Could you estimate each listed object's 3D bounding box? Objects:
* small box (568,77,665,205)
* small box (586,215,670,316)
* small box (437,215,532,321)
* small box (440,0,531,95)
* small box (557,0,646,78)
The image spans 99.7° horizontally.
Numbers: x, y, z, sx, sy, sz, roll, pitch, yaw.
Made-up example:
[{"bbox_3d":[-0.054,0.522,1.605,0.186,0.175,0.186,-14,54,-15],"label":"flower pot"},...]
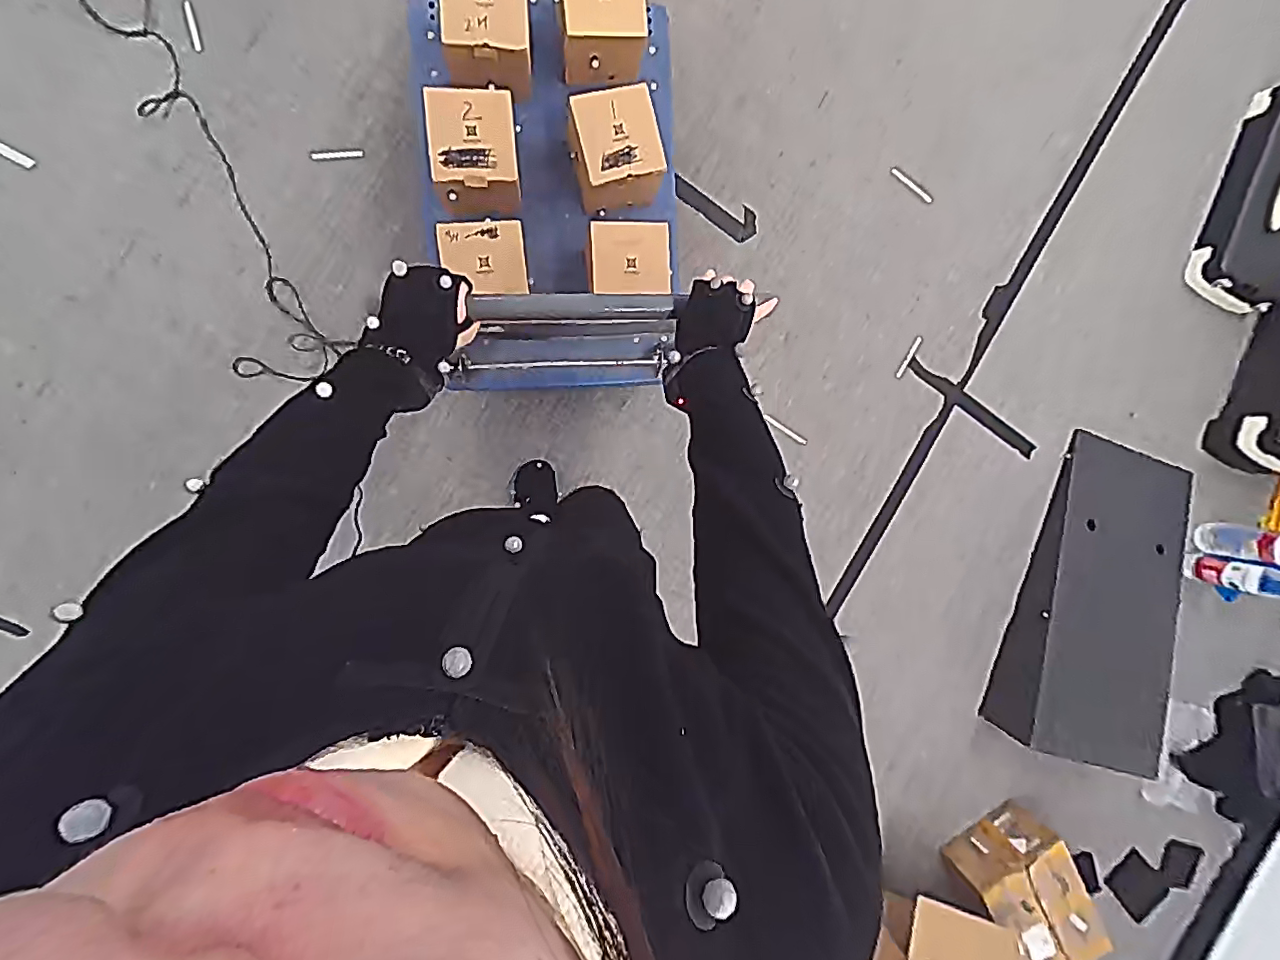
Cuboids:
[{"bbox_3d":[-0.056,-0.722,1.177,0.168,0.176,0.179,-16,97,-8],"label":"small box"},{"bbox_3d":[-0.031,-0.467,1.205,0.168,0.176,0.179,-3,95,-10],"label":"small box"},{"bbox_3d":[-0.324,-0.443,1.154,0.168,0.176,0.179,-7,96,-10],"label":"small box"},{"bbox_3d":[-0.313,-0.940,1.113,0.168,0.176,0.179,-2,96,-9],"label":"small box"},{"bbox_3d":[-0.086,-0.992,1.148,0.168,0.176,0.179,-7,96,-9],"label":"small box"}]
